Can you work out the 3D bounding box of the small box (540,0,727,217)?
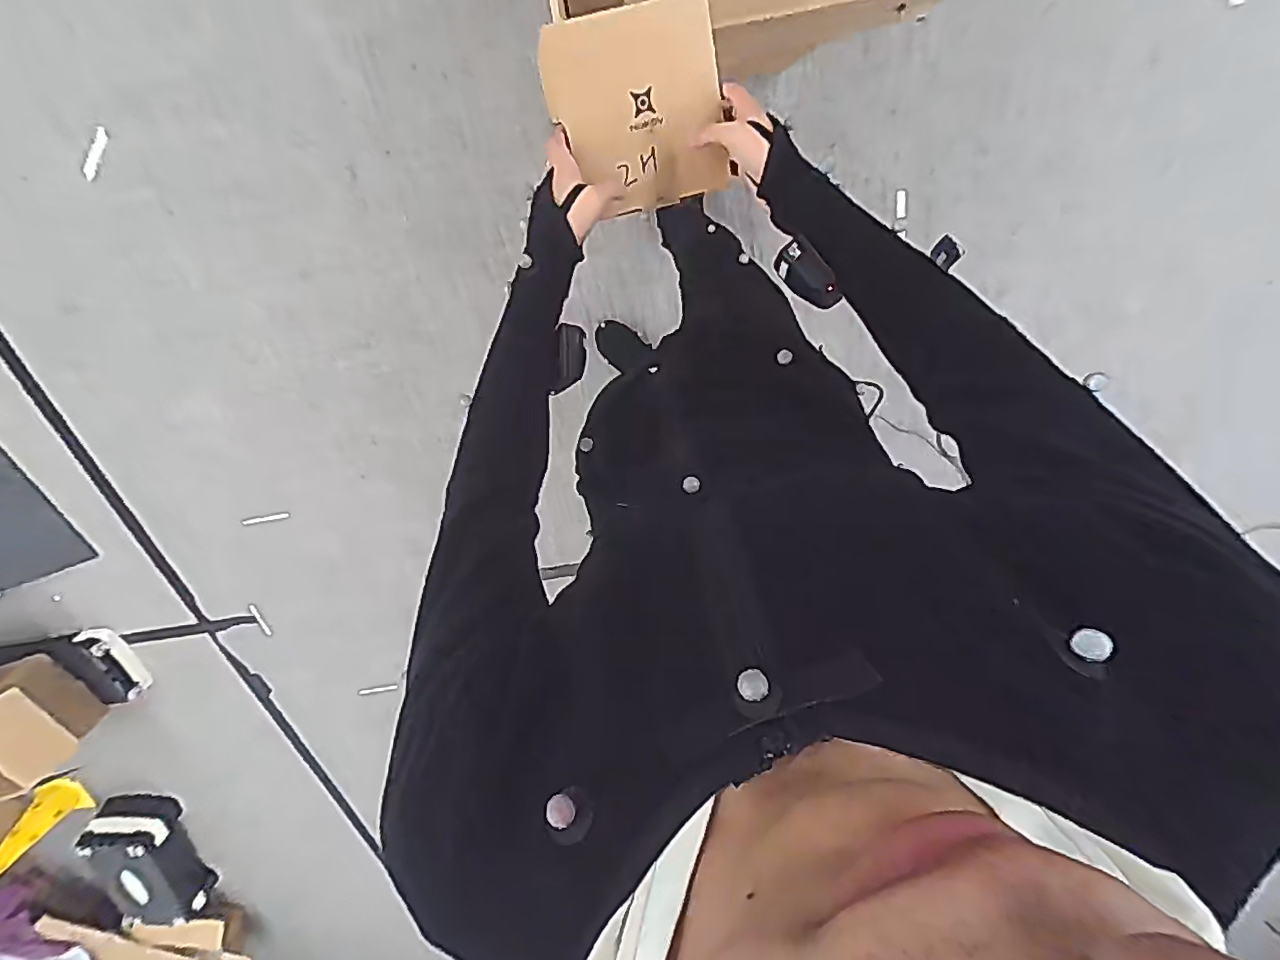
[{"bbox_3d":[-0.014,-0.412,0.619,0.168,0.176,0.179,-16,118,-3],"label":"small box"}]
